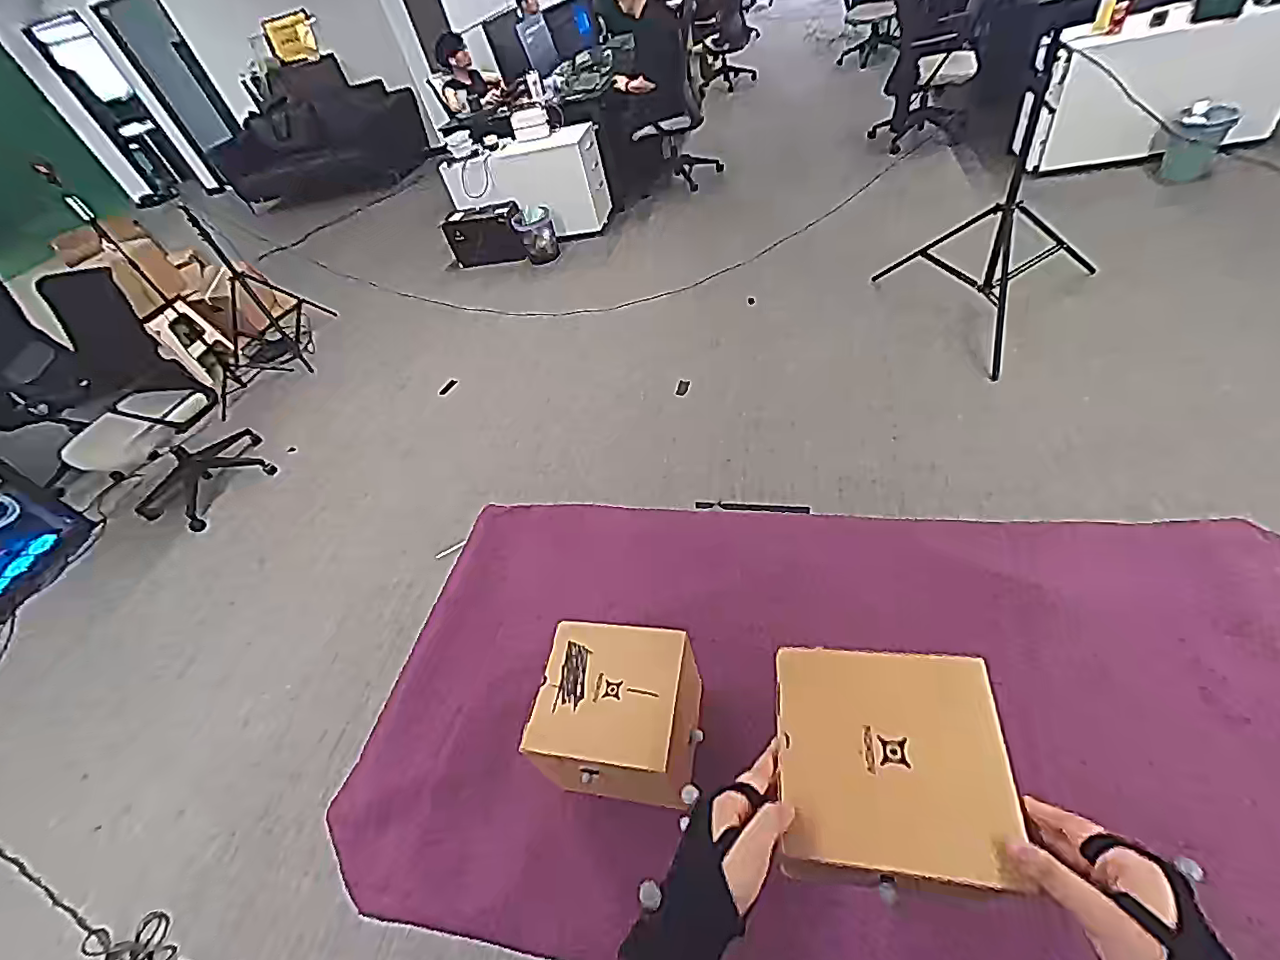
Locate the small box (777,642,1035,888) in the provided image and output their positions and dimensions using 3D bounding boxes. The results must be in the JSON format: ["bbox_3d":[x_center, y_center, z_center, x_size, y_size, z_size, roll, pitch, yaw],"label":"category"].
[{"bbox_3d":[0.221,0.265,0.503,0.179,0.176,0.168,-2,51,16],"label":"small box"}]

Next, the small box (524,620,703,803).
[{"bbox_3d":[-0.021,0.303,0.708,0.179,0.176,0.168,1,48,16],"label":"small box"}]
